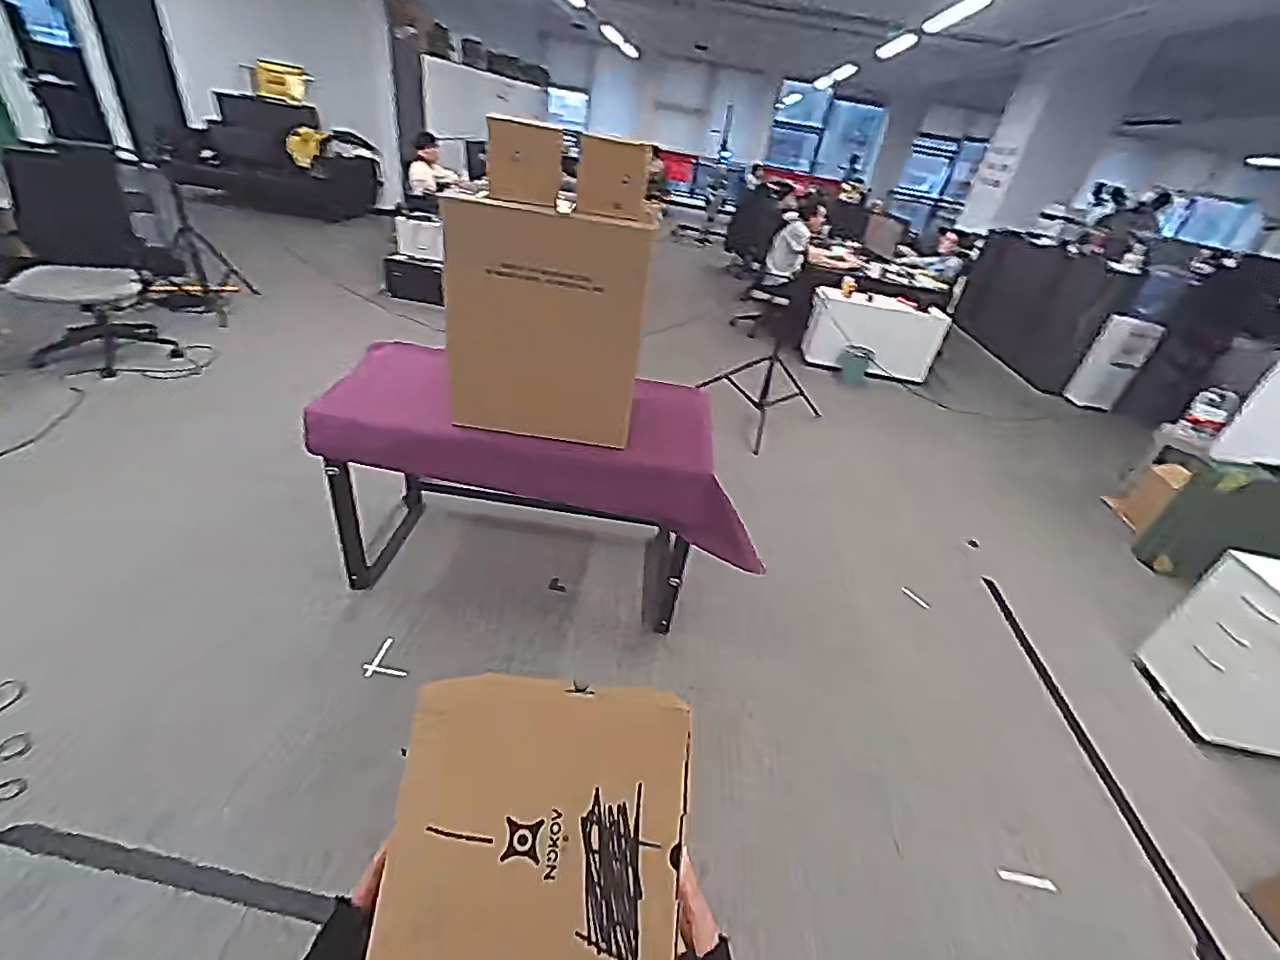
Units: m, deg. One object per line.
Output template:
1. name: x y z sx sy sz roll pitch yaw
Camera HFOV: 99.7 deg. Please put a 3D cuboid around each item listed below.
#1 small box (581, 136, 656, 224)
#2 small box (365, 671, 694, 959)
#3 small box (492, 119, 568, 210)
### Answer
1. small box: -0.054 -0.760 1.370 0.168 0.176 0.179 9 33 -3
2. small box: -0.062 0.234 0.395 0.179 0.176 0.168 5 71 0
3. small box: -0.277 -0.785 1.349 0.179 0.176 0.168 1 36 -15
